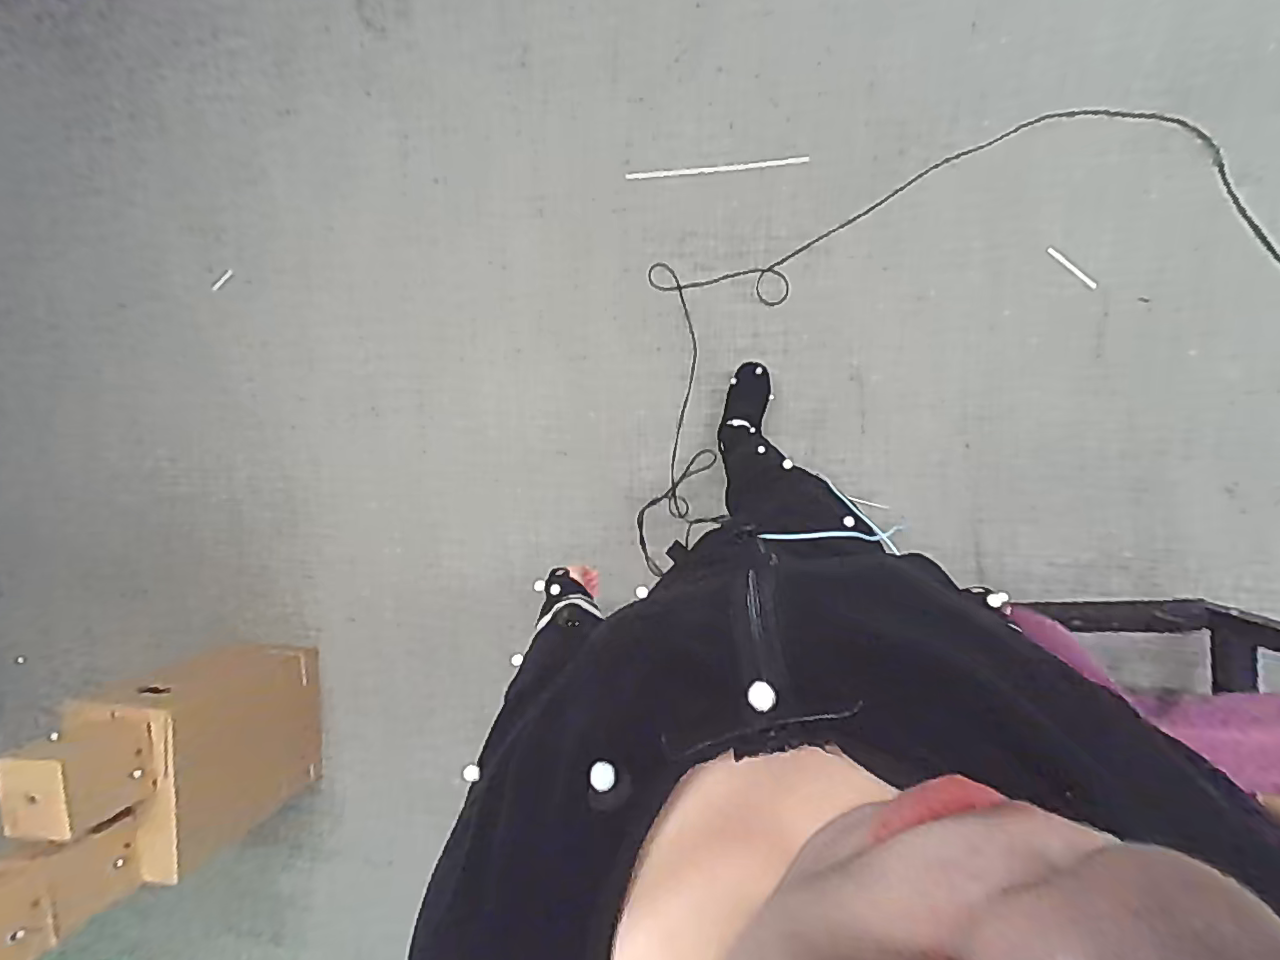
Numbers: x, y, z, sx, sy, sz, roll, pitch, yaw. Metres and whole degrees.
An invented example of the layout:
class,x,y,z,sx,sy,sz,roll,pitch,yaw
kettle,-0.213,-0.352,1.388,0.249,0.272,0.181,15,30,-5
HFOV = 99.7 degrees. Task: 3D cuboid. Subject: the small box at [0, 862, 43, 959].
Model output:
class,x,y,z,sx,sy,sz,roll,pitch,yaw
small box,-1.286,0.849,1.003,0.179,0.176,0.168,-9,89,7
